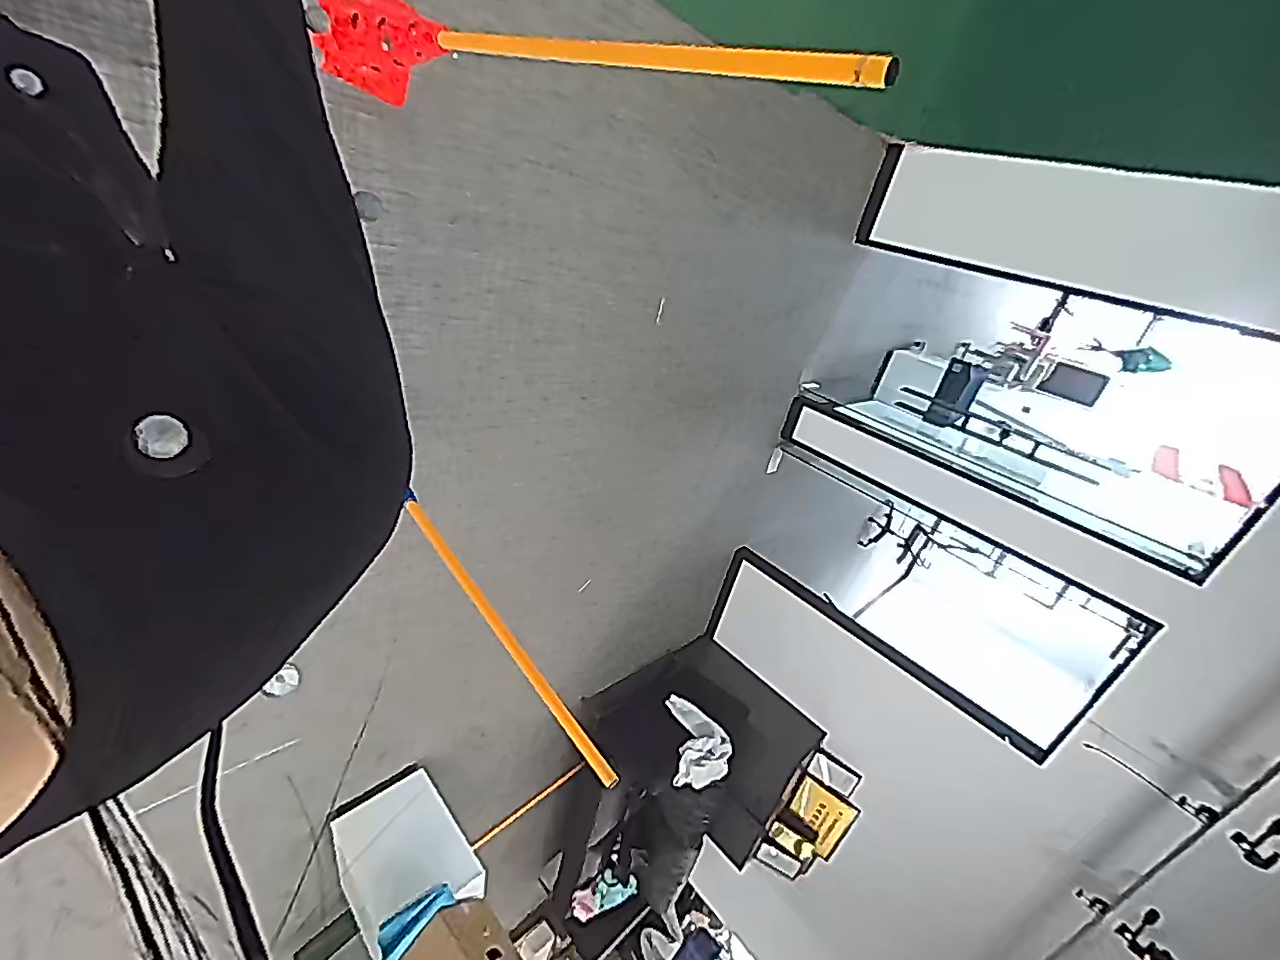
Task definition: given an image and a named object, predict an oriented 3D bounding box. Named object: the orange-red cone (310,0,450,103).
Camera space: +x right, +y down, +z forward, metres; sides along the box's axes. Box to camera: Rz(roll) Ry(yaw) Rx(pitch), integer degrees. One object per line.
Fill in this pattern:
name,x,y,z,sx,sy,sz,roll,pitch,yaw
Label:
orange-red cone,-0.474,-0.880,1.069,0.198,0.360,0.199,1,118,-50
